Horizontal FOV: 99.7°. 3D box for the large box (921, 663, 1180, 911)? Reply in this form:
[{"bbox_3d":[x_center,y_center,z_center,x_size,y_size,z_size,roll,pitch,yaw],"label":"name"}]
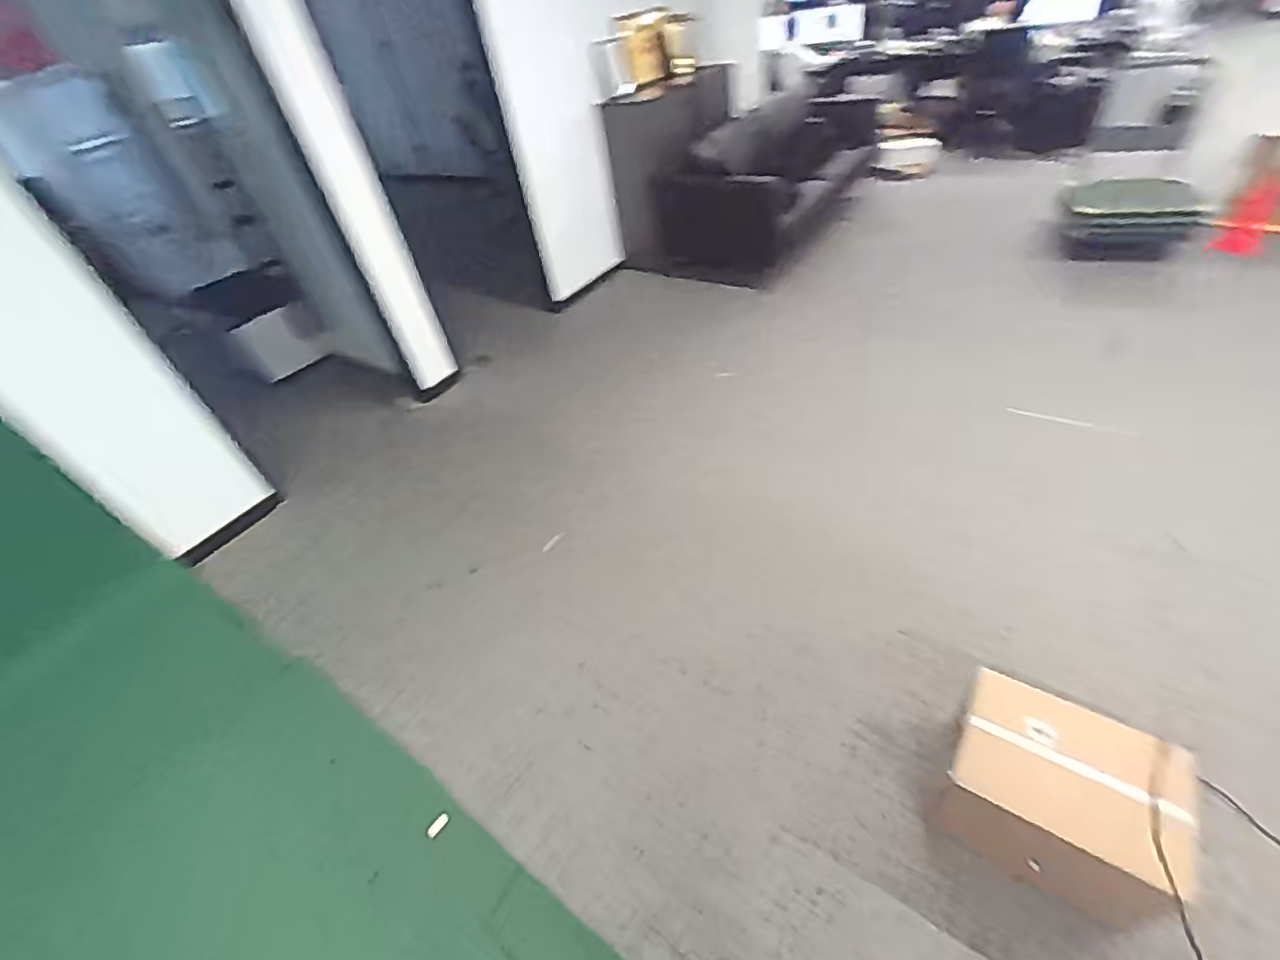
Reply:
[{"bbox_3d":[0.940,0.711,1.280,0.408,0.320,0.320,17,49,30],"label":"large box"}]
